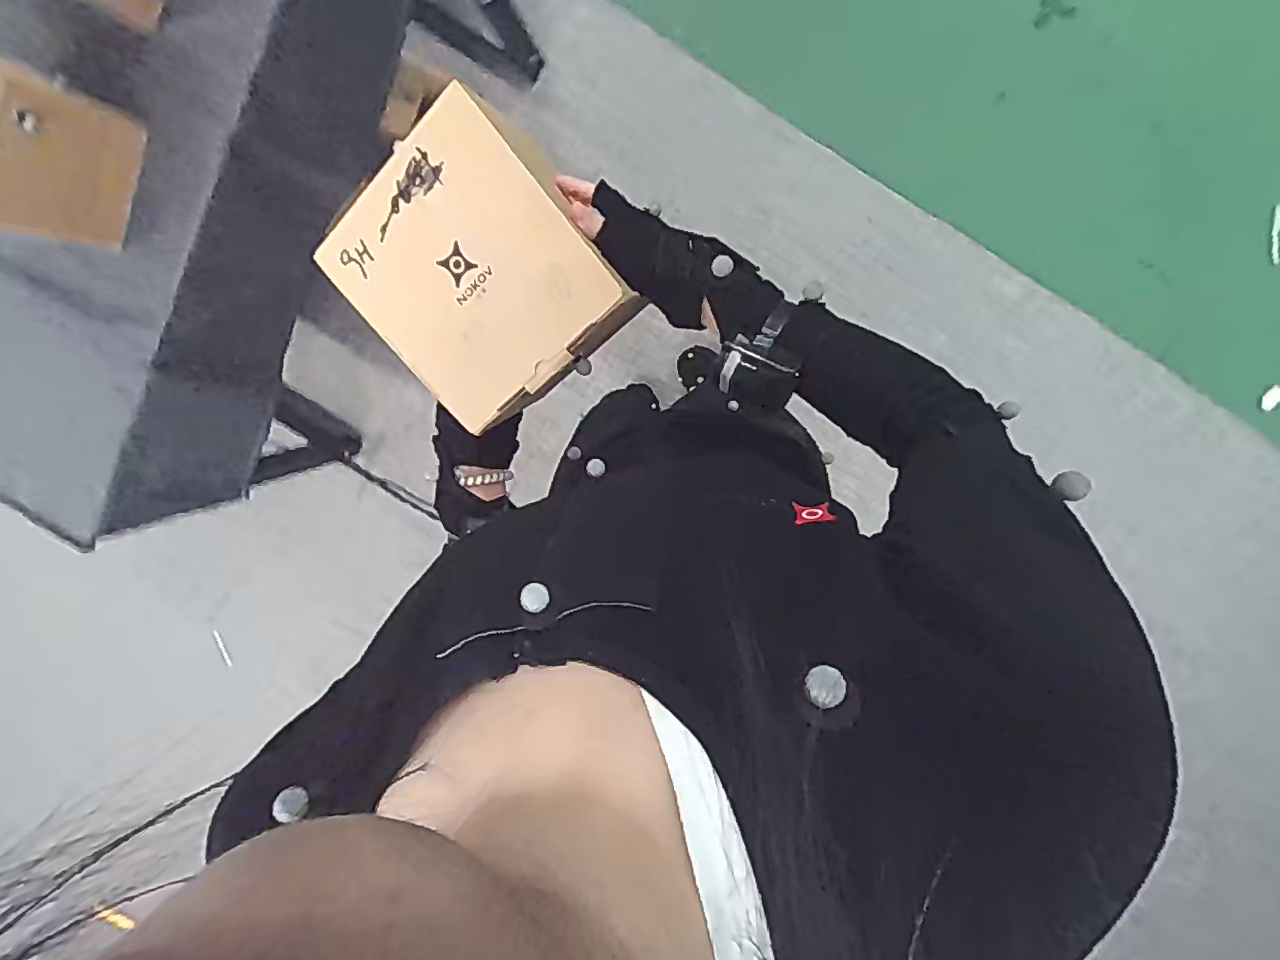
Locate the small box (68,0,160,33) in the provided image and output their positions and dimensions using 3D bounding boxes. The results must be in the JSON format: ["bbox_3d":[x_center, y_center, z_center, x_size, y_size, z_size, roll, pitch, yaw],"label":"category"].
[{"bbox_3d":[-0.683,-0.660,0.604,0.179,0.176,0.168,29,106,-1],"label":"small box"}]

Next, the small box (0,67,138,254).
[{"bbox_3d":[-0.793,-0.410,0.678,0.168,0.176,0.179,27,105,0],"label":"small box"}]
